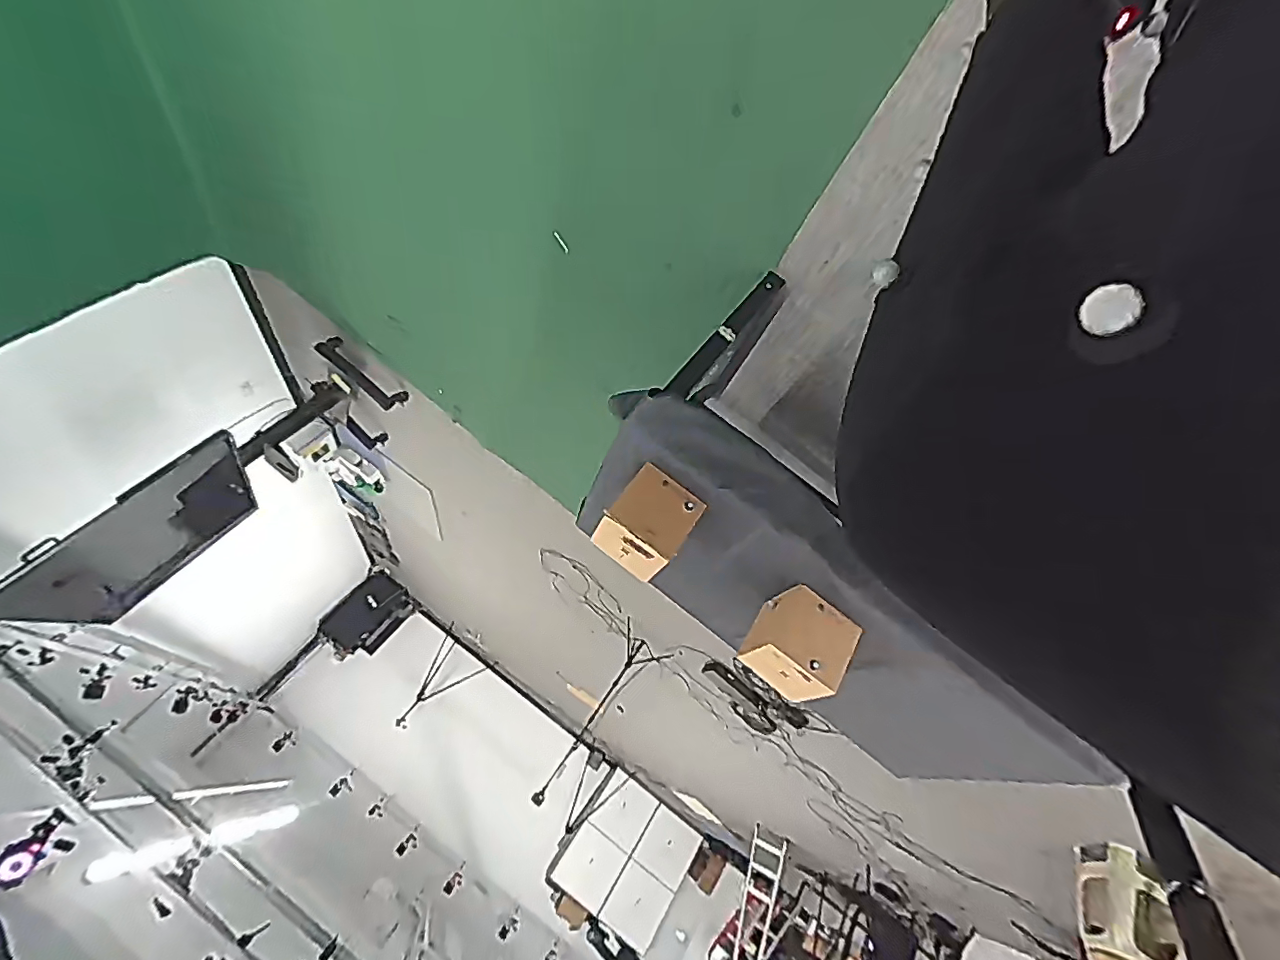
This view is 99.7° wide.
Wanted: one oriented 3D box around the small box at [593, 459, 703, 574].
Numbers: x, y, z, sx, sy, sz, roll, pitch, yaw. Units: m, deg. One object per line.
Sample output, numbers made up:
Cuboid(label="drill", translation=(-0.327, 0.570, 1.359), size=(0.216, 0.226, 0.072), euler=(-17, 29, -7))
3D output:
Cuboid(label="small box", translation=(0.020, 0.082, 1.225), size=(0.168, 0.176, 0.179), euler=(37, 151, 2))

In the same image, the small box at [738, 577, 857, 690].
Cuboid(label="small box", translation=(0.356, 0.346, 1.216), size=(0.168, 0.176, 0.179), euler=(37, 150, 3))
